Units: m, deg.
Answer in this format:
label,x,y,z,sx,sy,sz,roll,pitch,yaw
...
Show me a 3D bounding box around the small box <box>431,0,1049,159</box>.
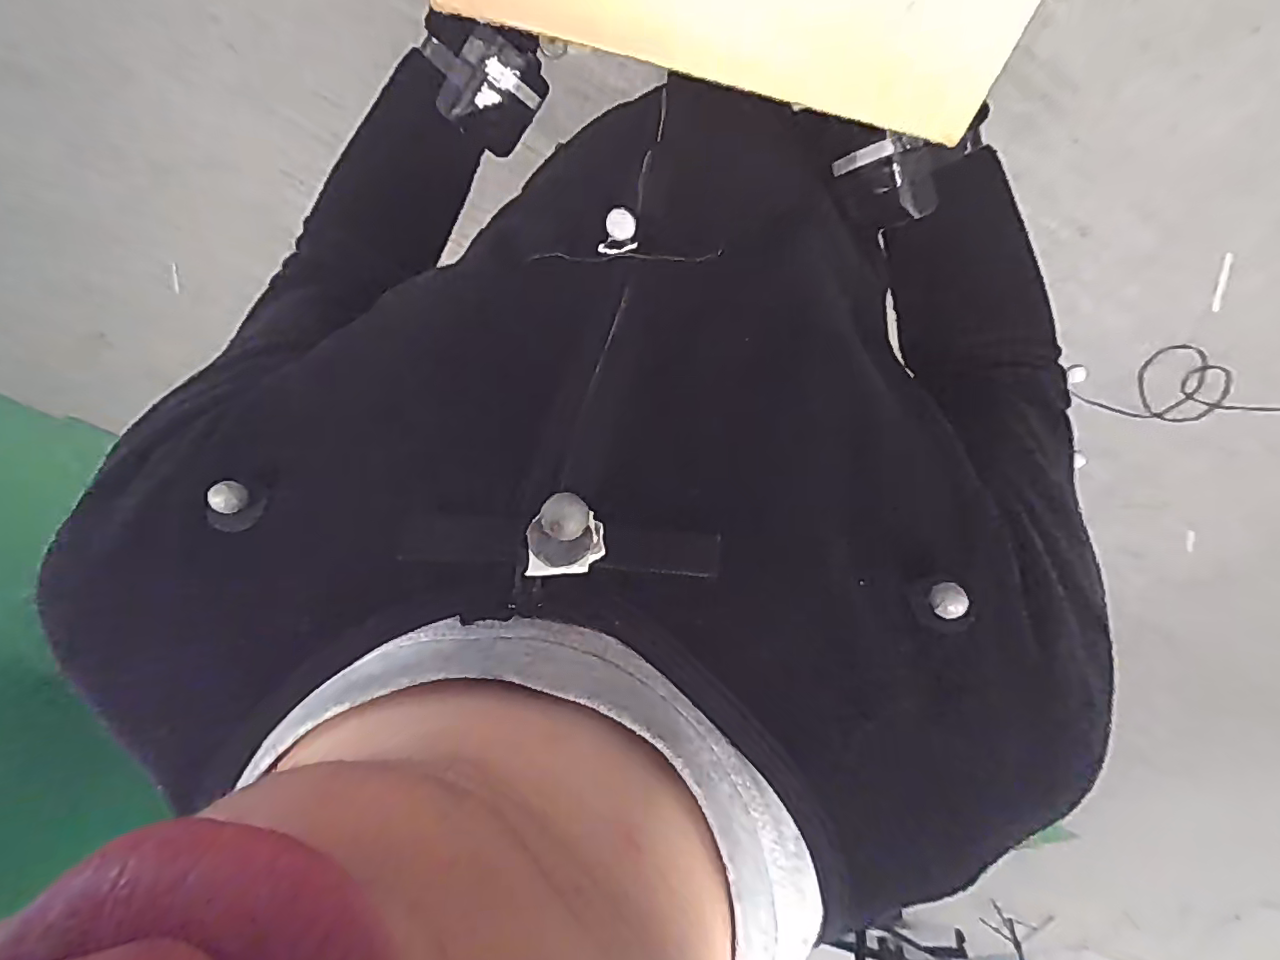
label,x,y,z,sx,sy,sz,roll,pitch,yaw
small box,0.044,-0.230,0.150,0.168,0.176,0.179,13,139,-2
